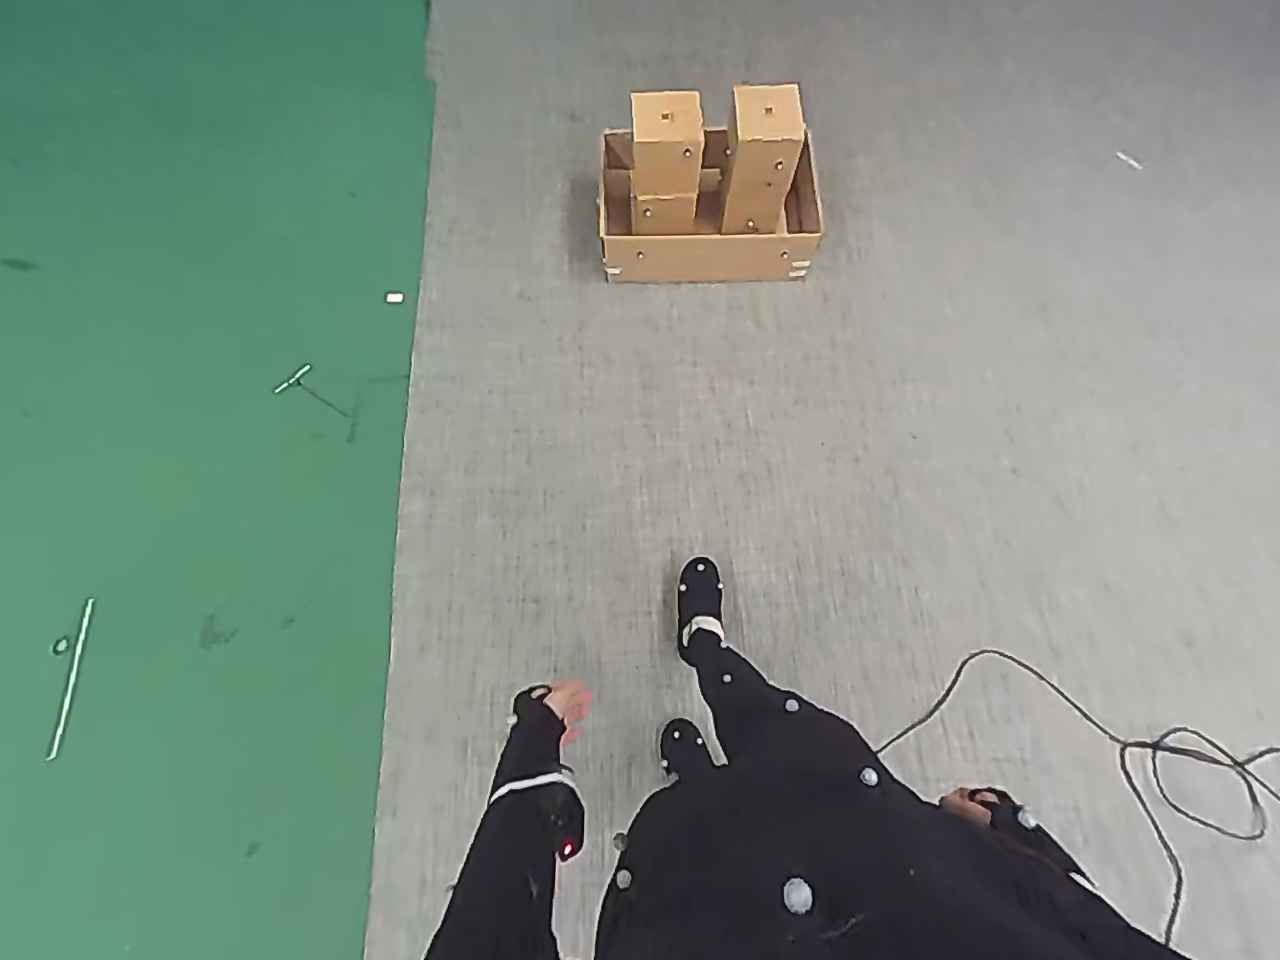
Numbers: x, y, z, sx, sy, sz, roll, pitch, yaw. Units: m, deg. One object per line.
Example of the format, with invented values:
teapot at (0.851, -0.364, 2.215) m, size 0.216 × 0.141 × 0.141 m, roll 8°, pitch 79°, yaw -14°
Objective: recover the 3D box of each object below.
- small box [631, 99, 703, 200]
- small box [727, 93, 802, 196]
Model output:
small box at (0.070, -0.874, 1.442) m, size 0.179 × 0.176 × 0.168 m, roll -3°, pitch 73°, yaw -1°
small box at (0.325, -0.885, 1.440) m, size 0.168 × 0.176 × 0.179 m, roll -1°, pitch 73°, yaw 1°
